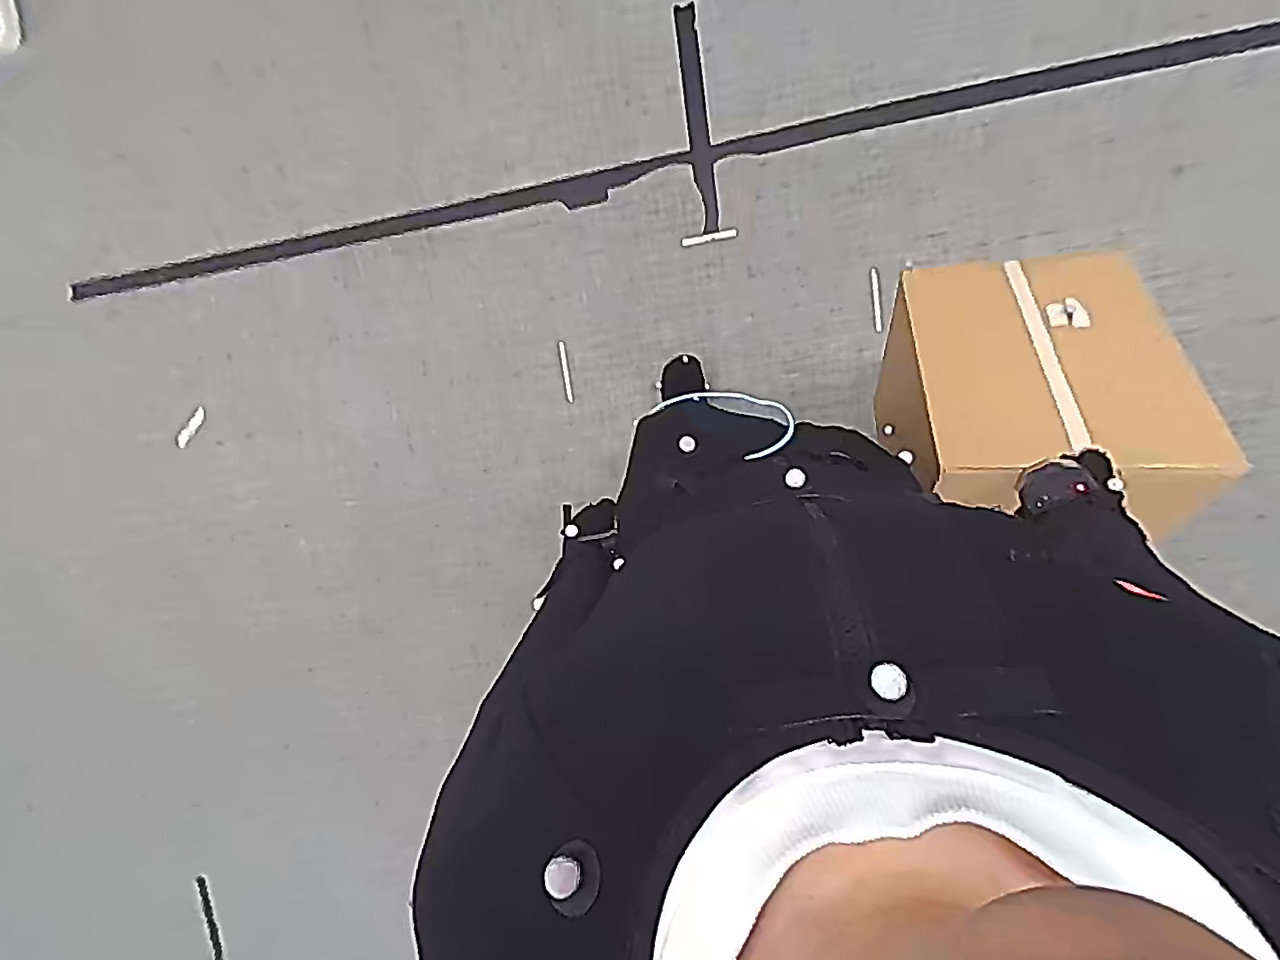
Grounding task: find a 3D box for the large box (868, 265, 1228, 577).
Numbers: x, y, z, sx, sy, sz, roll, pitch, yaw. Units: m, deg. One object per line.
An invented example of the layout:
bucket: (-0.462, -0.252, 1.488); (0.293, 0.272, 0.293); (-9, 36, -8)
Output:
large box: (0.577, -0.088, 0.880); (0.320, 0.320, 0.408); (1, 54, 12)
